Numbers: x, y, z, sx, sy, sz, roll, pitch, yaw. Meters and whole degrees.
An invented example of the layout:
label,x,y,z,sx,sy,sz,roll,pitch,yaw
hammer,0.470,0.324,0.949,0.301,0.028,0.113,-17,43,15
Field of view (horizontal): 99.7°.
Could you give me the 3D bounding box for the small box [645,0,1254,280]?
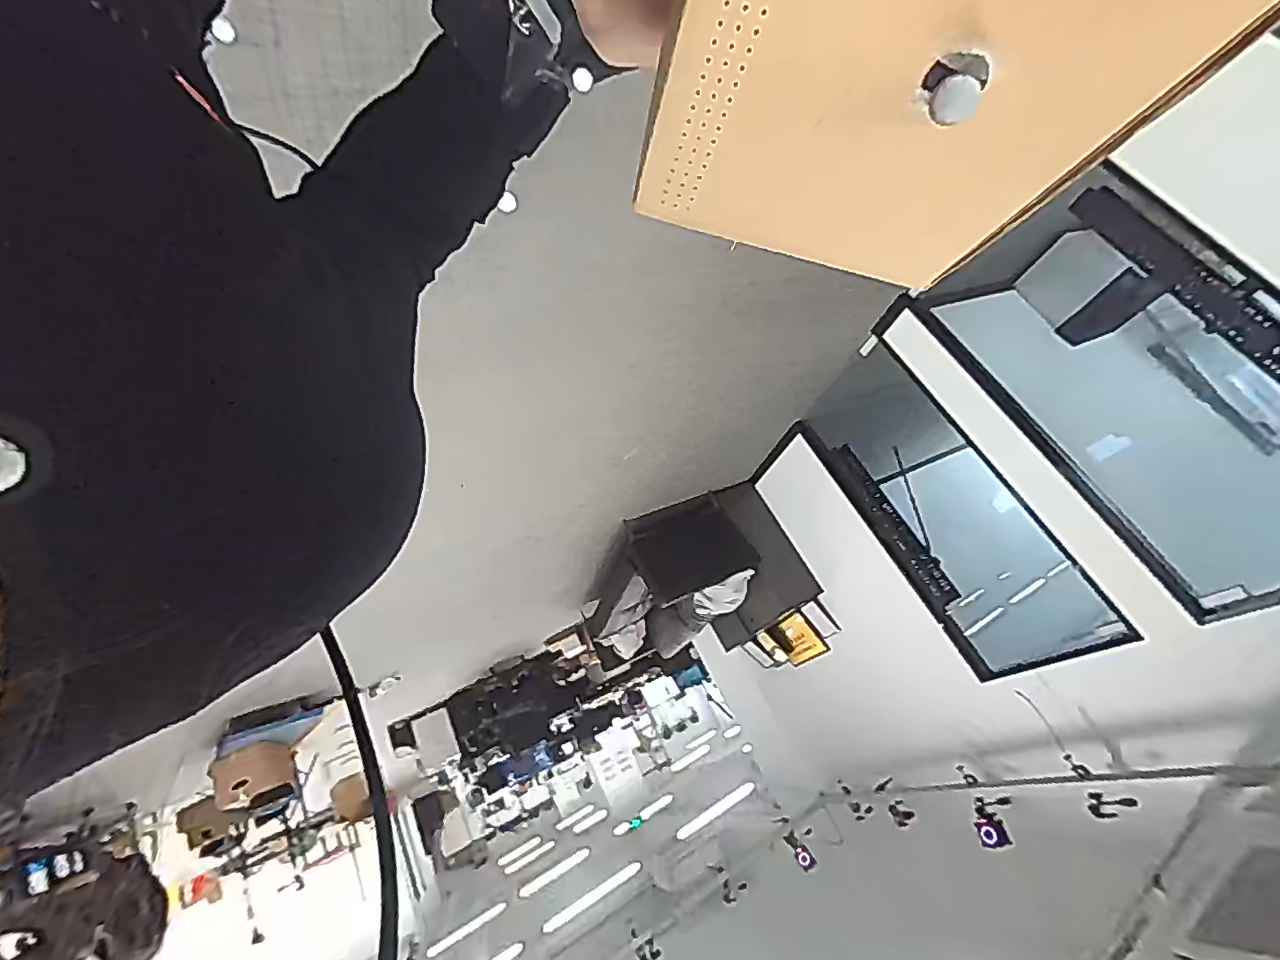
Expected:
label,x,y,z,sx,sy,sz,roll,pitch,yaw
small box,0.102,-0.220,0.232,0.176,0.168,0.179,11,166,-8
